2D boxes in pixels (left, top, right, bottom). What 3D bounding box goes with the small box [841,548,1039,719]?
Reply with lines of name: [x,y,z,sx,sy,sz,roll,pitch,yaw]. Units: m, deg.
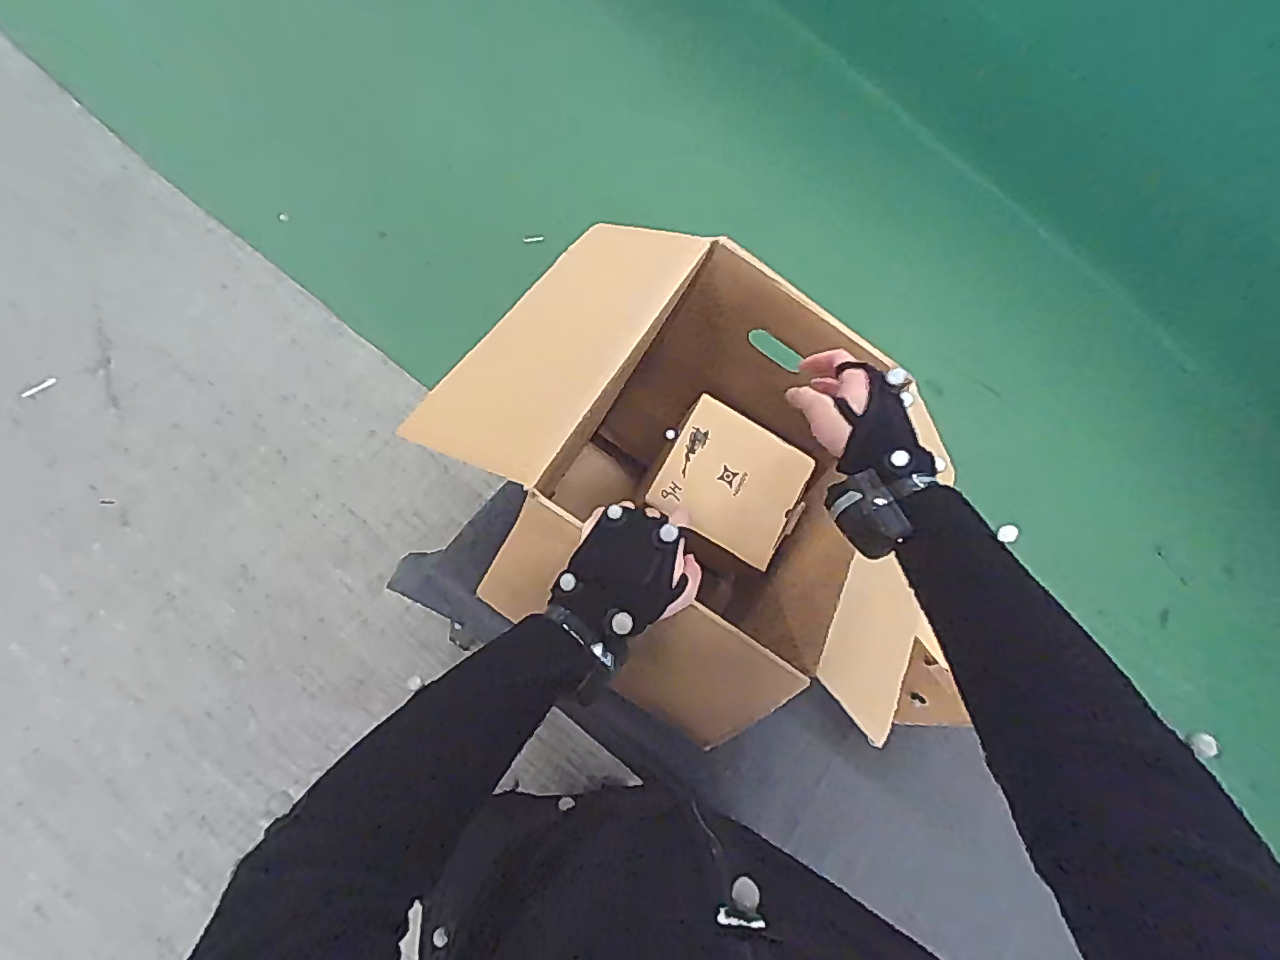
small box: [0.435,0.233,0.813,0.179,0.176,0.168,-34,84,-28]
